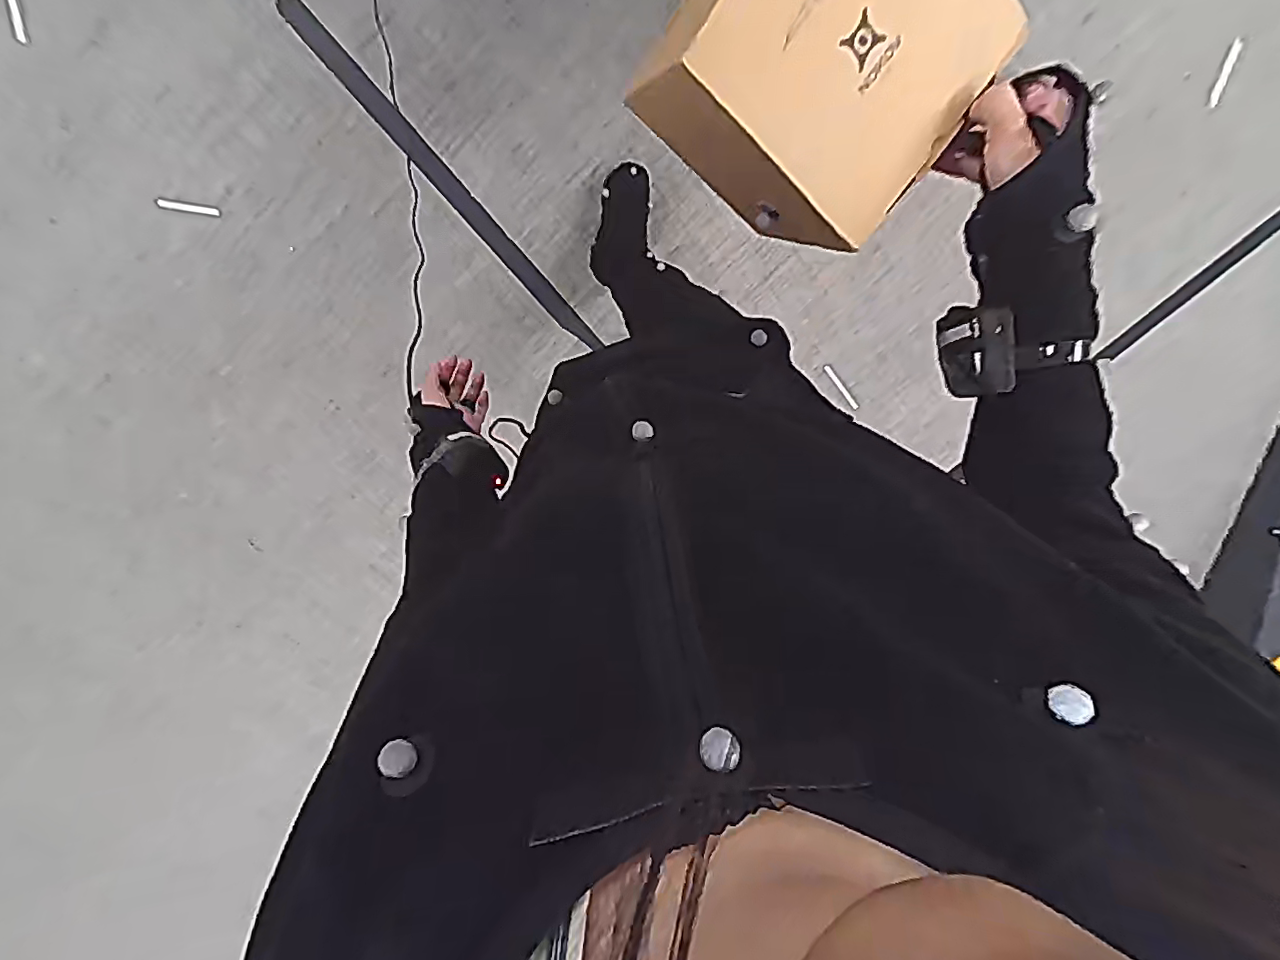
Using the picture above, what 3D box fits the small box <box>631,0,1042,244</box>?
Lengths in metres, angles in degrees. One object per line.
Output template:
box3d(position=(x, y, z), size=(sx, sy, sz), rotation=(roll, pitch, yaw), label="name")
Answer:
box3d(position=(0.120, -0.301, 0.387), size=(0.179, 0.176, 0.168), rotation=(29, 106, -27), label="small box")
